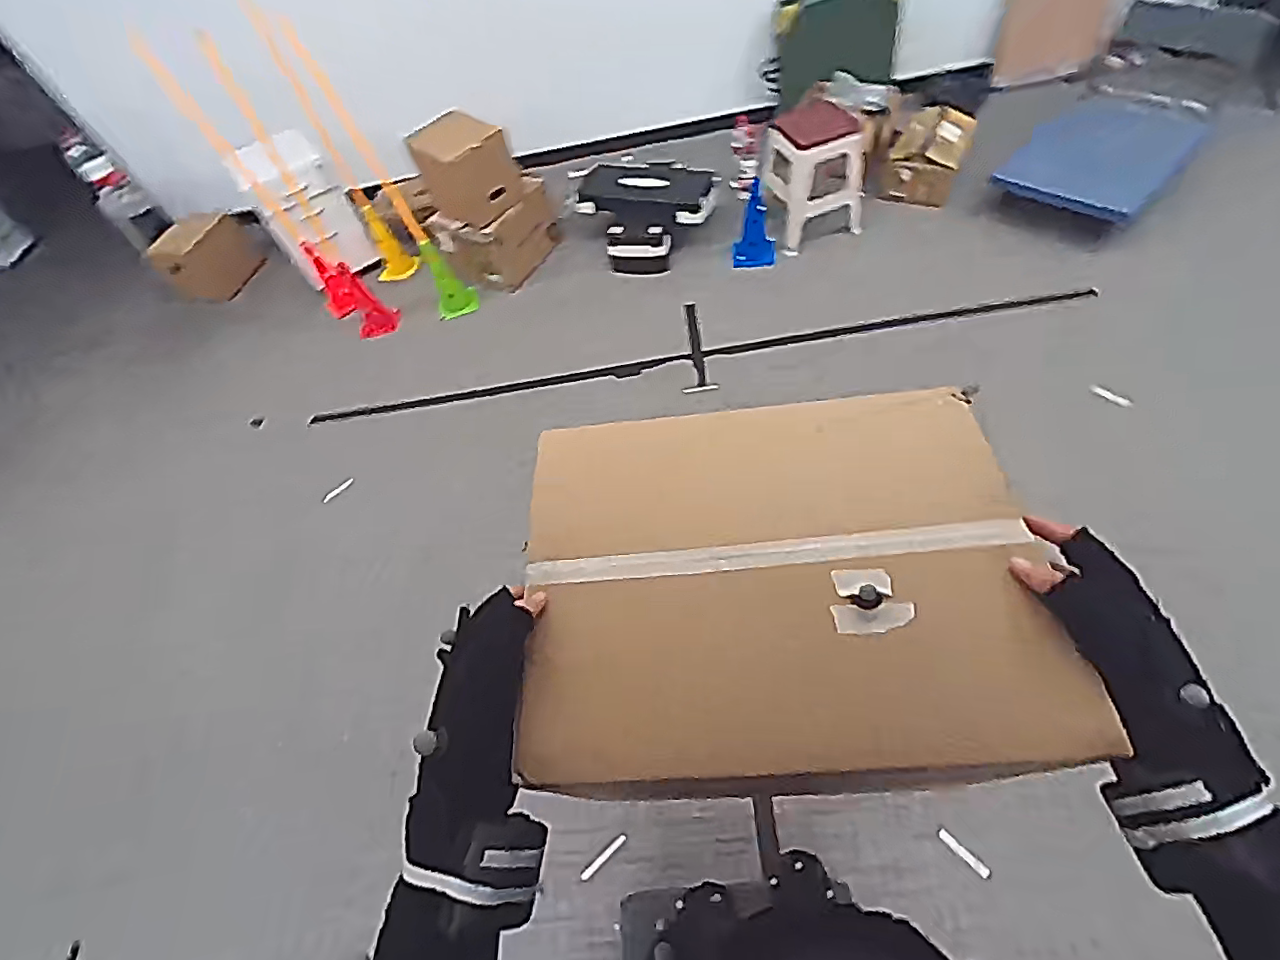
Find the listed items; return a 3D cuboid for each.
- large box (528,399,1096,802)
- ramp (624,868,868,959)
[{"bbox_3d":[0.124,0.150,0.582,0.408,0.320,0.320,-6,57,5],"label":"large box"},{"bbox_3d":[0.256,1.314,0.968,0.509,0.206,0.991,-9,56,3],"label":"ramp"}]
